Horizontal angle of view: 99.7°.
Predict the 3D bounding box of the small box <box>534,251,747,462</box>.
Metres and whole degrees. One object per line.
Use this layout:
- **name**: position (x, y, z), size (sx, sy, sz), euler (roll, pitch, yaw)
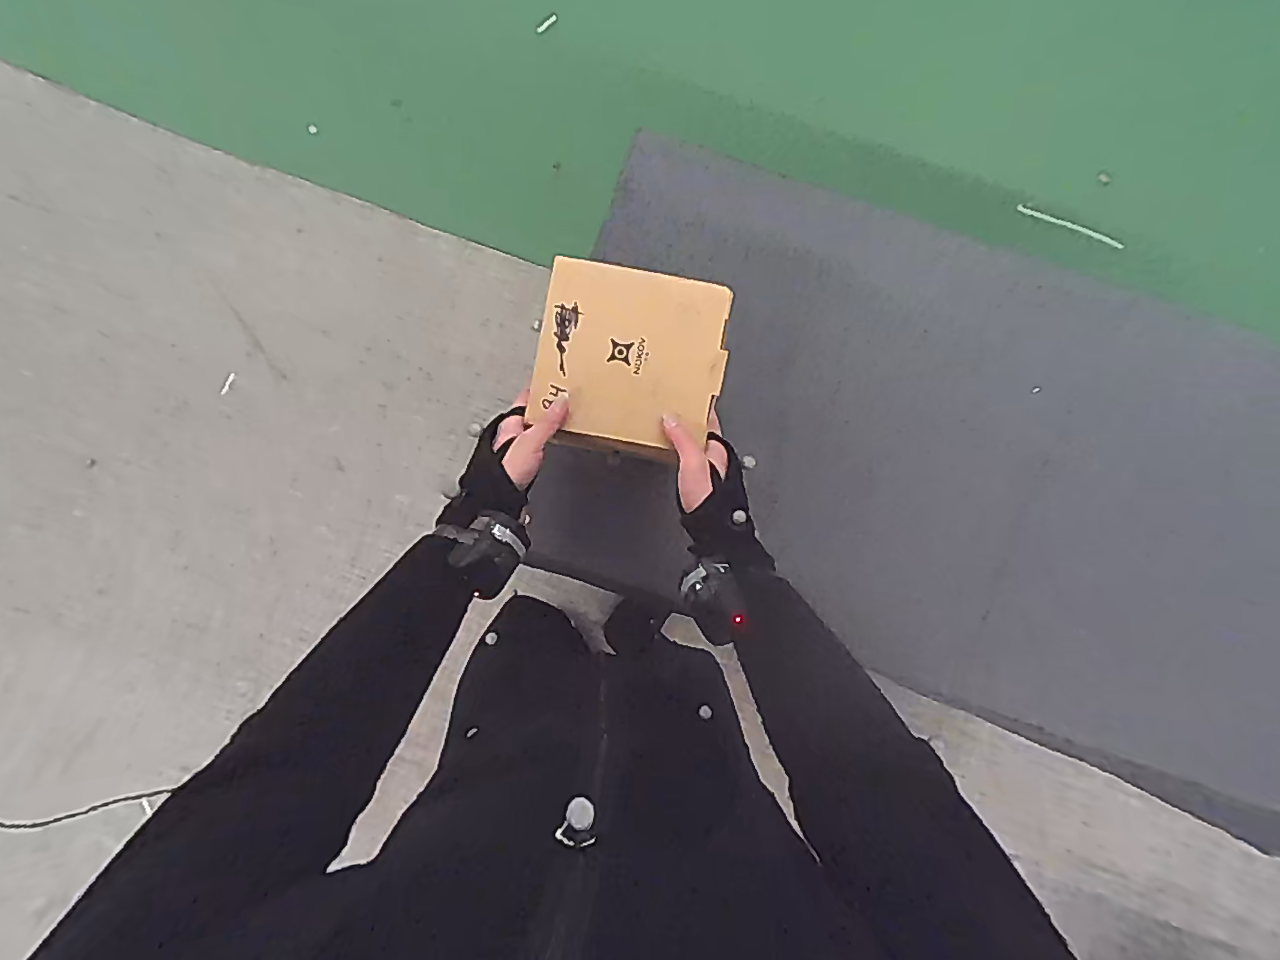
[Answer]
- **small box**: position (-0.003, -0.117, 0.589), size (0.179, 0.176, 0.168), euler (12, 87, -3)
